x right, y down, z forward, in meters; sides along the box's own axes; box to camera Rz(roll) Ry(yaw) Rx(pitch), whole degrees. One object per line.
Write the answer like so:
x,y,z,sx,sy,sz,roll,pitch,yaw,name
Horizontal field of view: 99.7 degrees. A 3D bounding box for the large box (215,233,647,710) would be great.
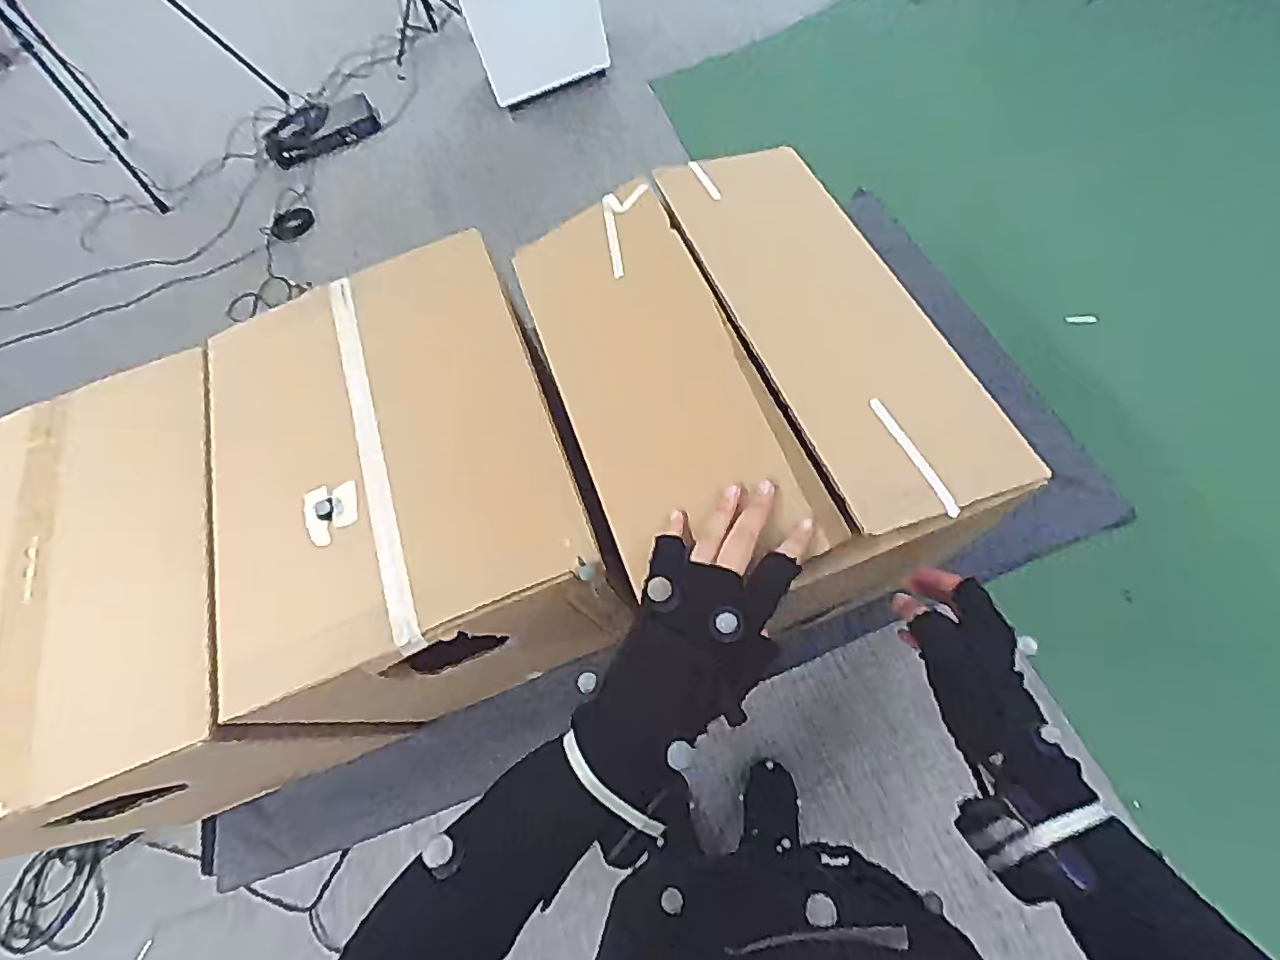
-0.219,0.010,0.634,0.320,0.320,0.408,-23,66,0,large box
